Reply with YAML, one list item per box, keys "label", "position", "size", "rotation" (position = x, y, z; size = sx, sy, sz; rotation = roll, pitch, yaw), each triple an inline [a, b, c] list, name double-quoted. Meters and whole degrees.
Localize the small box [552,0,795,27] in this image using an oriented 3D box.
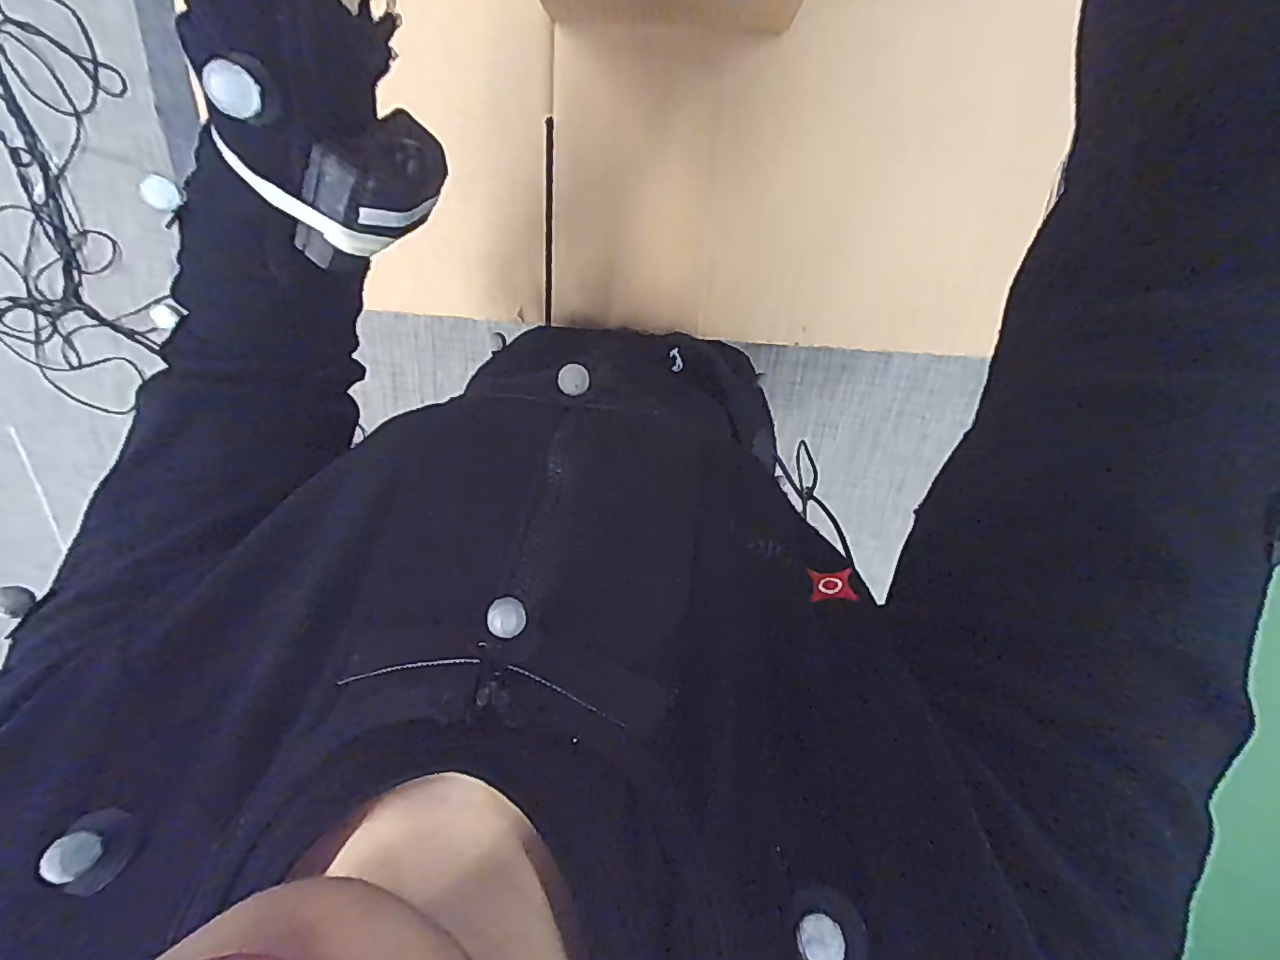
- label: "small box"
  position: [0.023, -0.367, 0.276]
  size: [0.179, 0.176, 0.168]
  rotation: [4, 111, 3]
